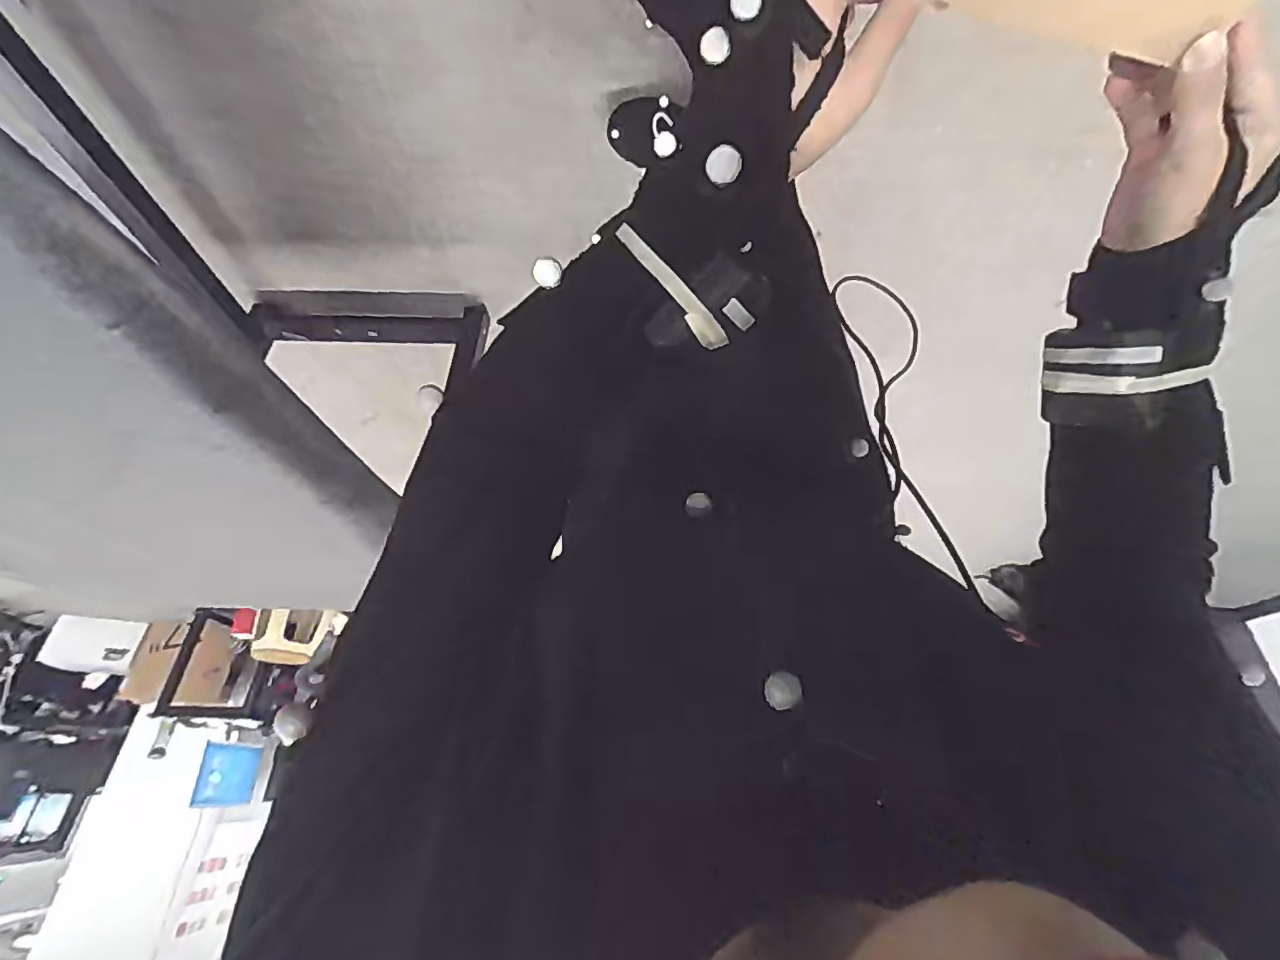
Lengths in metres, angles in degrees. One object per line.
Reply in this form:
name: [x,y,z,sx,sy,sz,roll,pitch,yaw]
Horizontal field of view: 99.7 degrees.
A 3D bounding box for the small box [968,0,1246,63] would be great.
small box: [0.215,-0.335,0.242,0.168,0.176,0.179,6,143,-9]
